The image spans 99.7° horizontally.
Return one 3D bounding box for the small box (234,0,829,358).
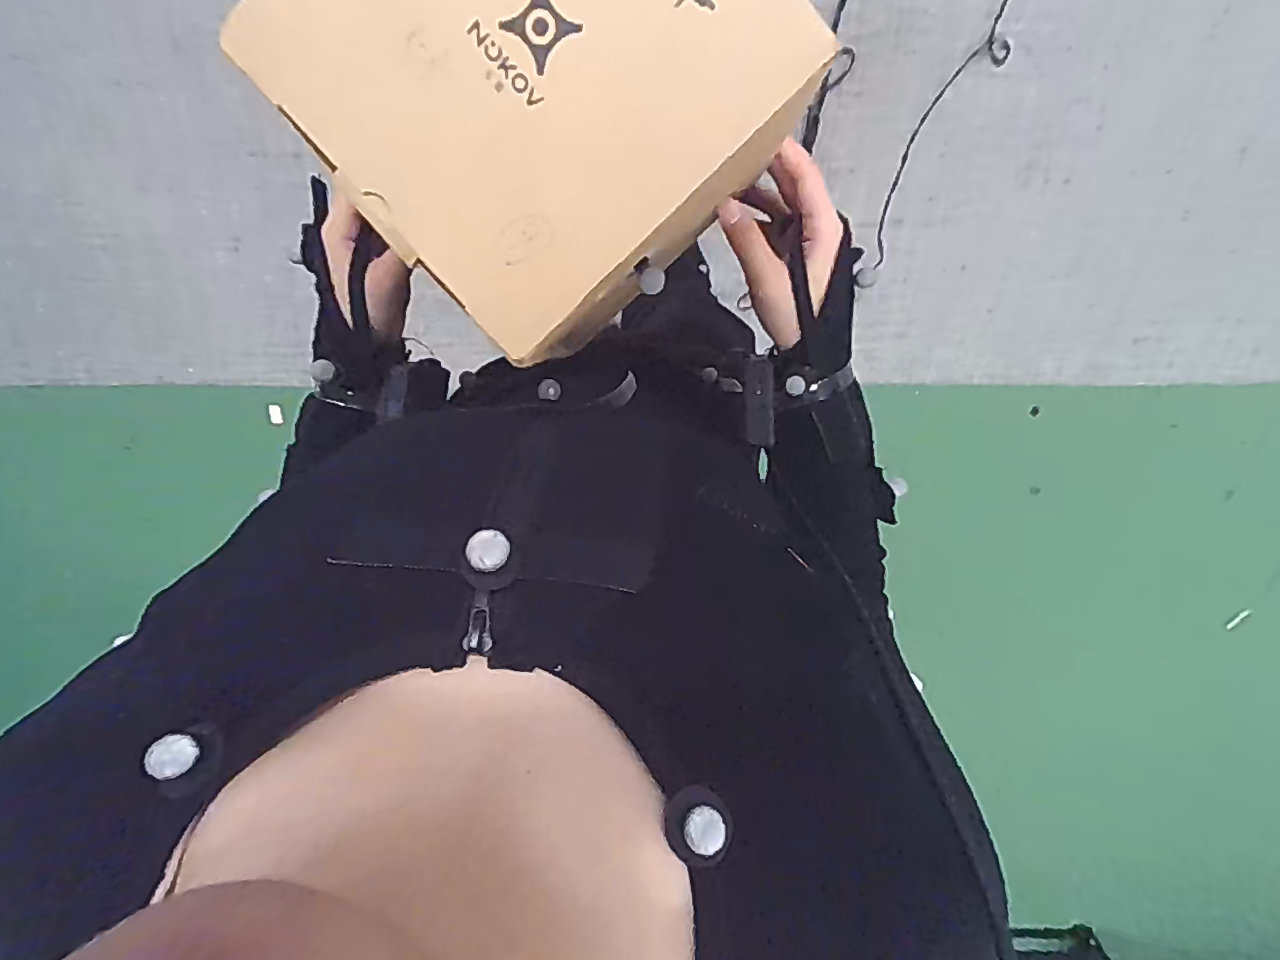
[{"bbox_3d":[-0.039,-0.184,0.283,0.179,0.176,0.168,-41,100,11],"label":"small box"}]
